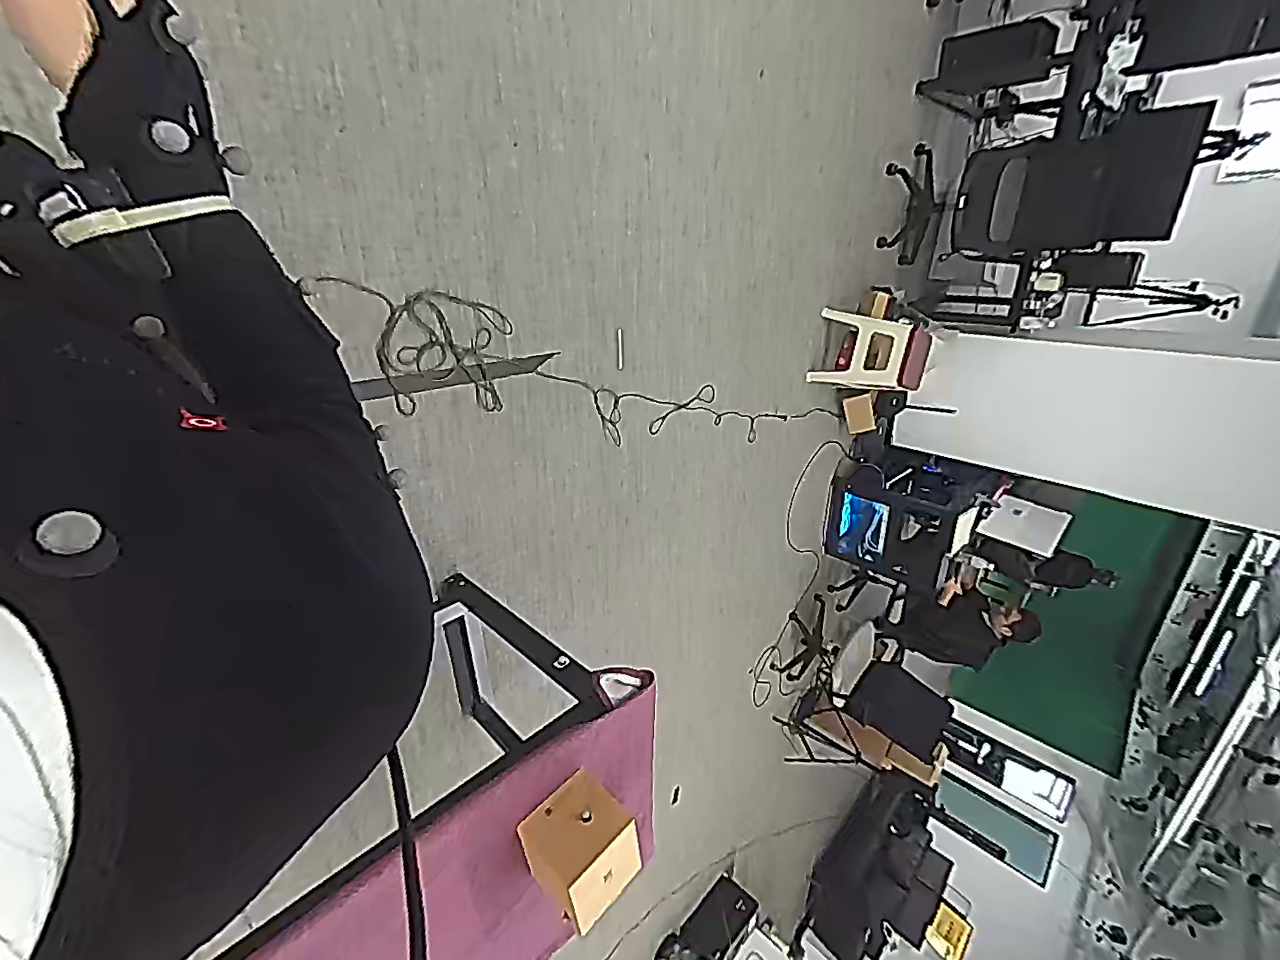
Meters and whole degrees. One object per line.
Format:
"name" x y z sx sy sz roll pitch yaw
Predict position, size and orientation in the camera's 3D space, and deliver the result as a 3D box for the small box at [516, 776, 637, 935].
"small box" -0.126 0.733 1.080 0.168 0.176 0.179 -29 126 -37
